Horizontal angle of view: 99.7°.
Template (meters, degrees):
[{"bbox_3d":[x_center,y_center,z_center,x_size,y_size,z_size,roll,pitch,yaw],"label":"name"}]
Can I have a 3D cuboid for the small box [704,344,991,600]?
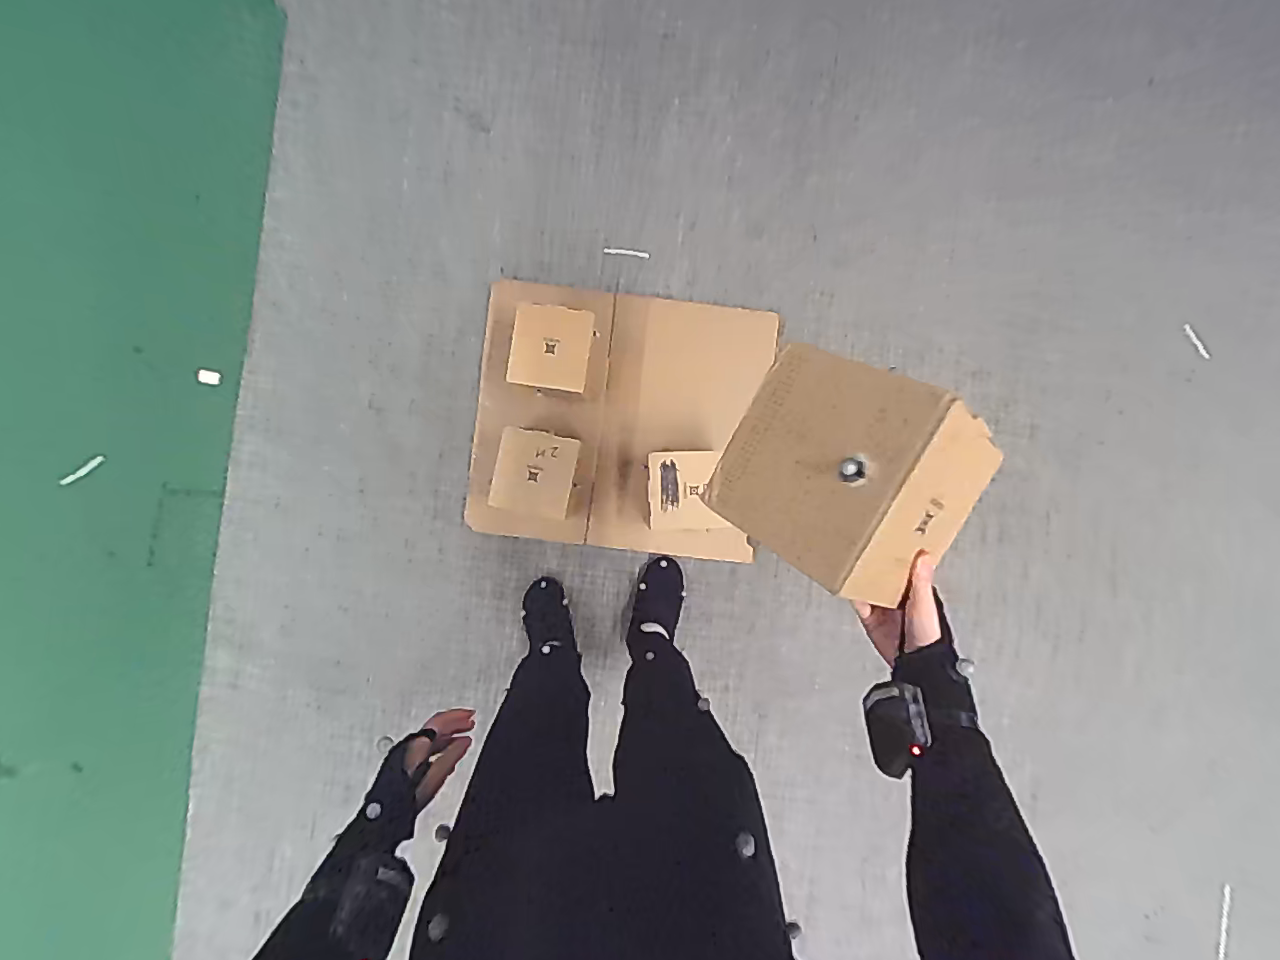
[{"bbox_3d":[0.193,-0.011,0.523,0.168,0.176,0.179,21,99,-43],"label":"small box"}]

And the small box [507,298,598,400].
[{"bbox_3d":[-0.188,-0.283,1.209,0.168,0.176,0.179,8,89,-1],"label":"small box"}]

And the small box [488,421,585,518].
[{"bbox_3d":[-0.221,-0.020,1.204,0.168,0.176,0.179,13,89,-2],"label":"small box"}]
